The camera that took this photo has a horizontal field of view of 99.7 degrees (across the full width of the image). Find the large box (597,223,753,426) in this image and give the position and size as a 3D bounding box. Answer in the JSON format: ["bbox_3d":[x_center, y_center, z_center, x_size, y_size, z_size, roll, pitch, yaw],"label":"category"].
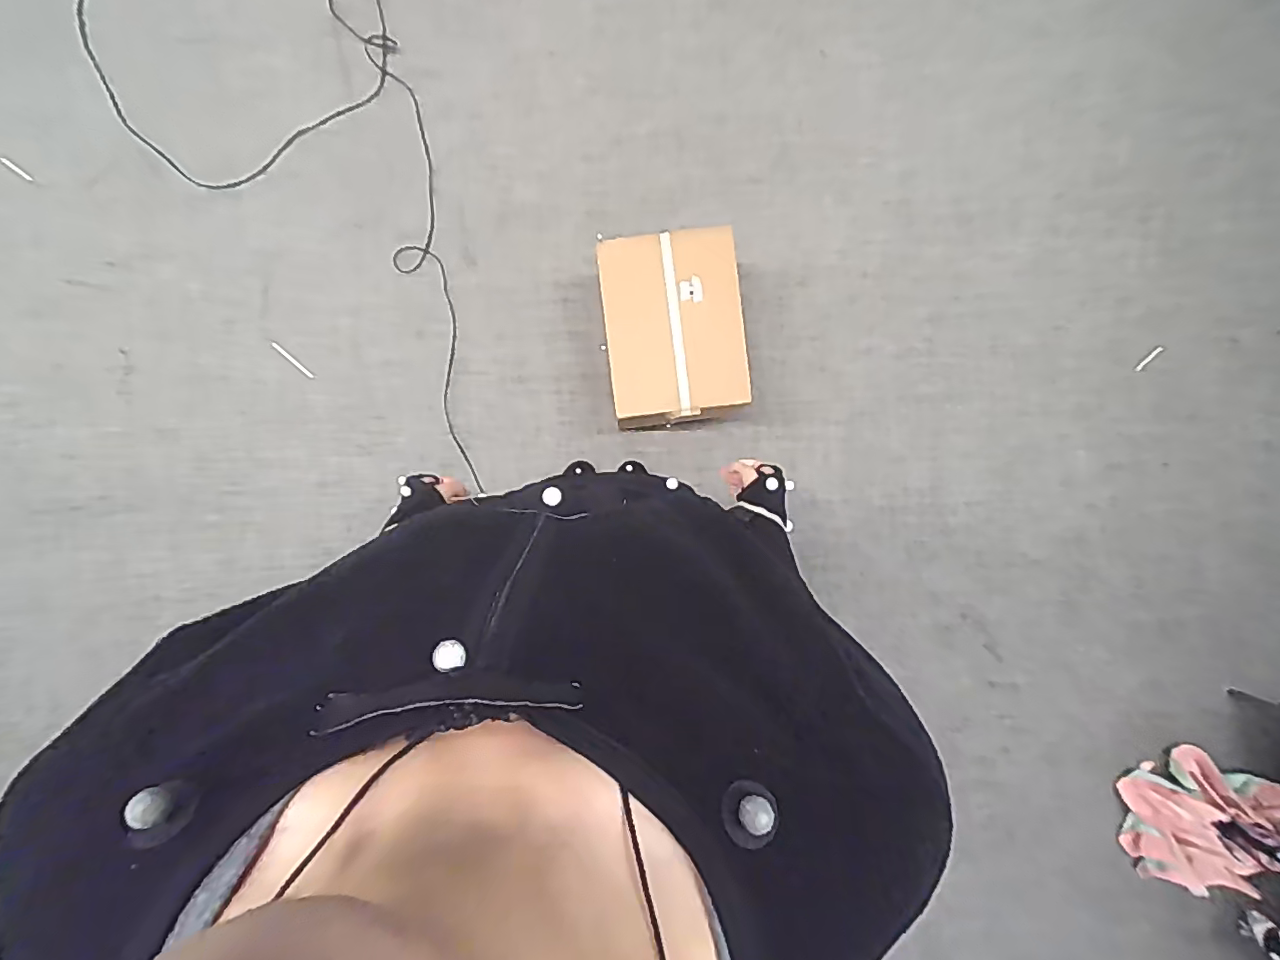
[{"bbox_3d":[0.079,-0.366,1.366,0.320,0.320,0.408,-7,90,-2],"label":"large box"}]
